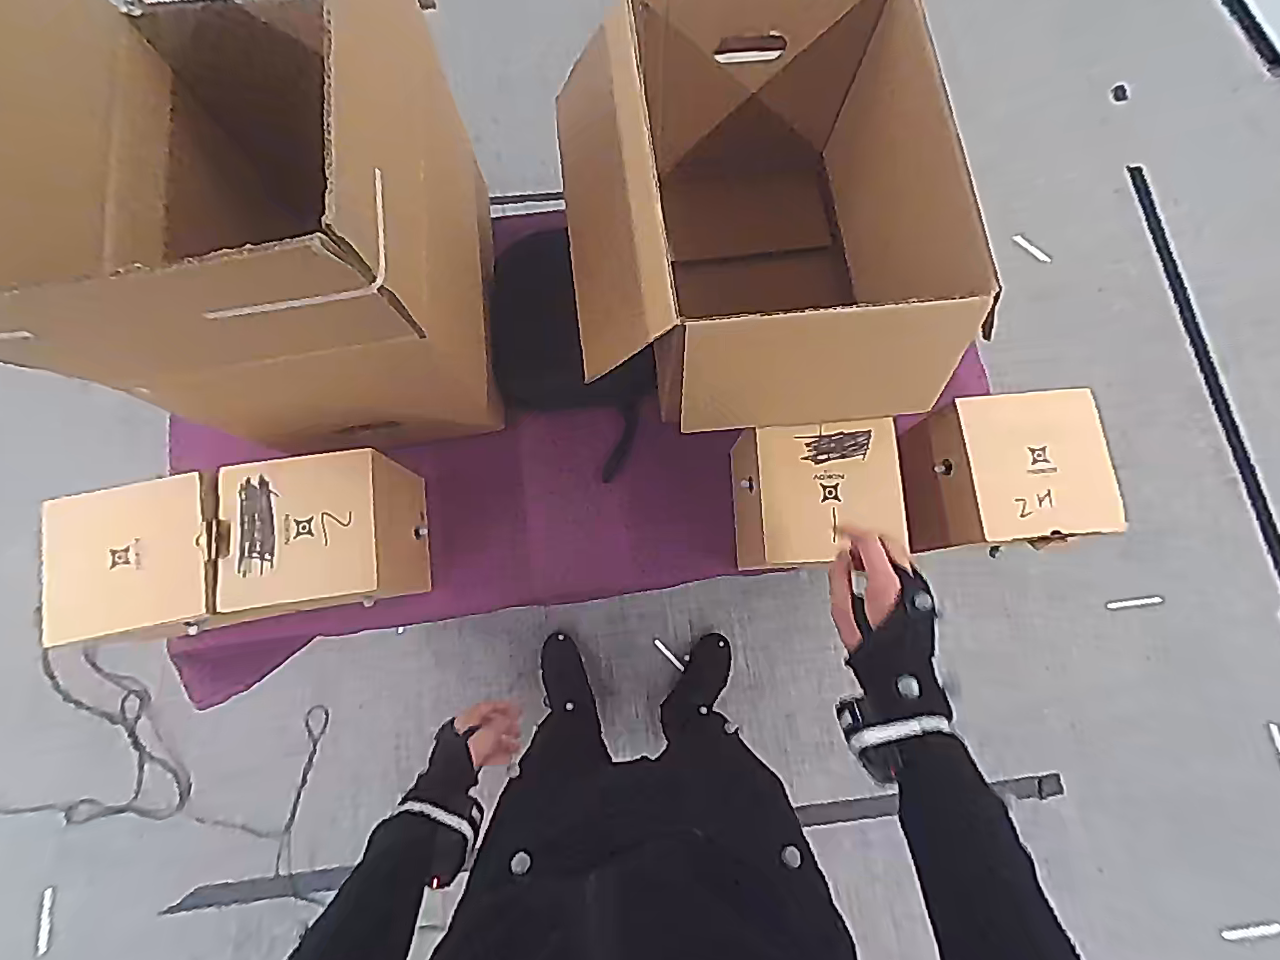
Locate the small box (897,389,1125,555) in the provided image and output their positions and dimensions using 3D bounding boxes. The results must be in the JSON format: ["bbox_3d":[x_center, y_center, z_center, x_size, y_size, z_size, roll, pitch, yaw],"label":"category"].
[{"bbox_3d":[0.459,-0.002,0.703,0.168,0.176,0.179,-5,78,0],"label":"small box"}]
